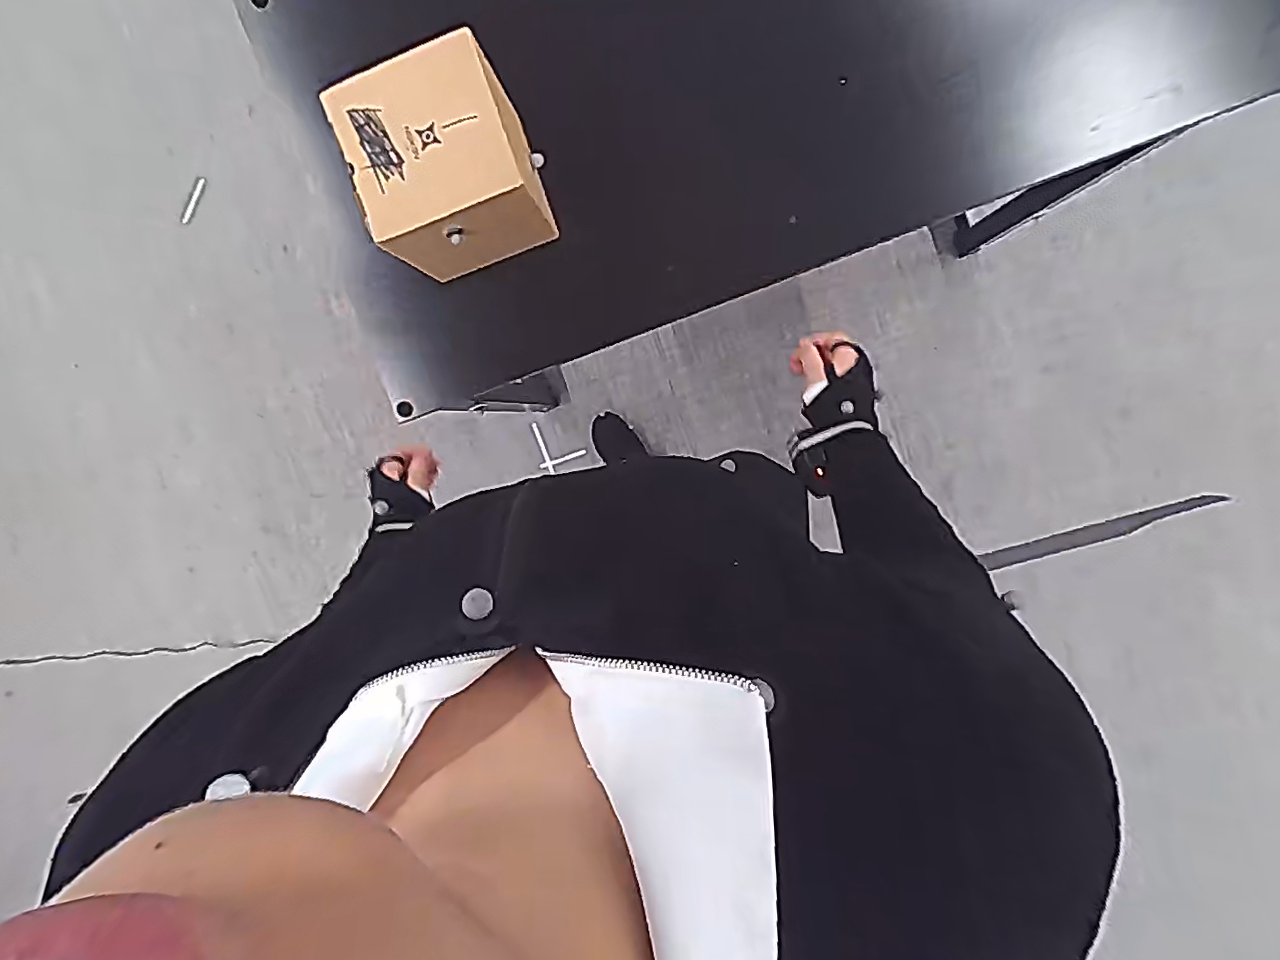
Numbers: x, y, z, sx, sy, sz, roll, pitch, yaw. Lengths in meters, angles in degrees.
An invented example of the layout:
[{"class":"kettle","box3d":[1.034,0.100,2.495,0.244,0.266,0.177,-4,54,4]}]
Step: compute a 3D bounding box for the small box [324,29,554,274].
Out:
[{"class":"small box","box3d":[-0.224,-0.369,0.648,0.179,0.176,0.168,-18,95,6]}]
